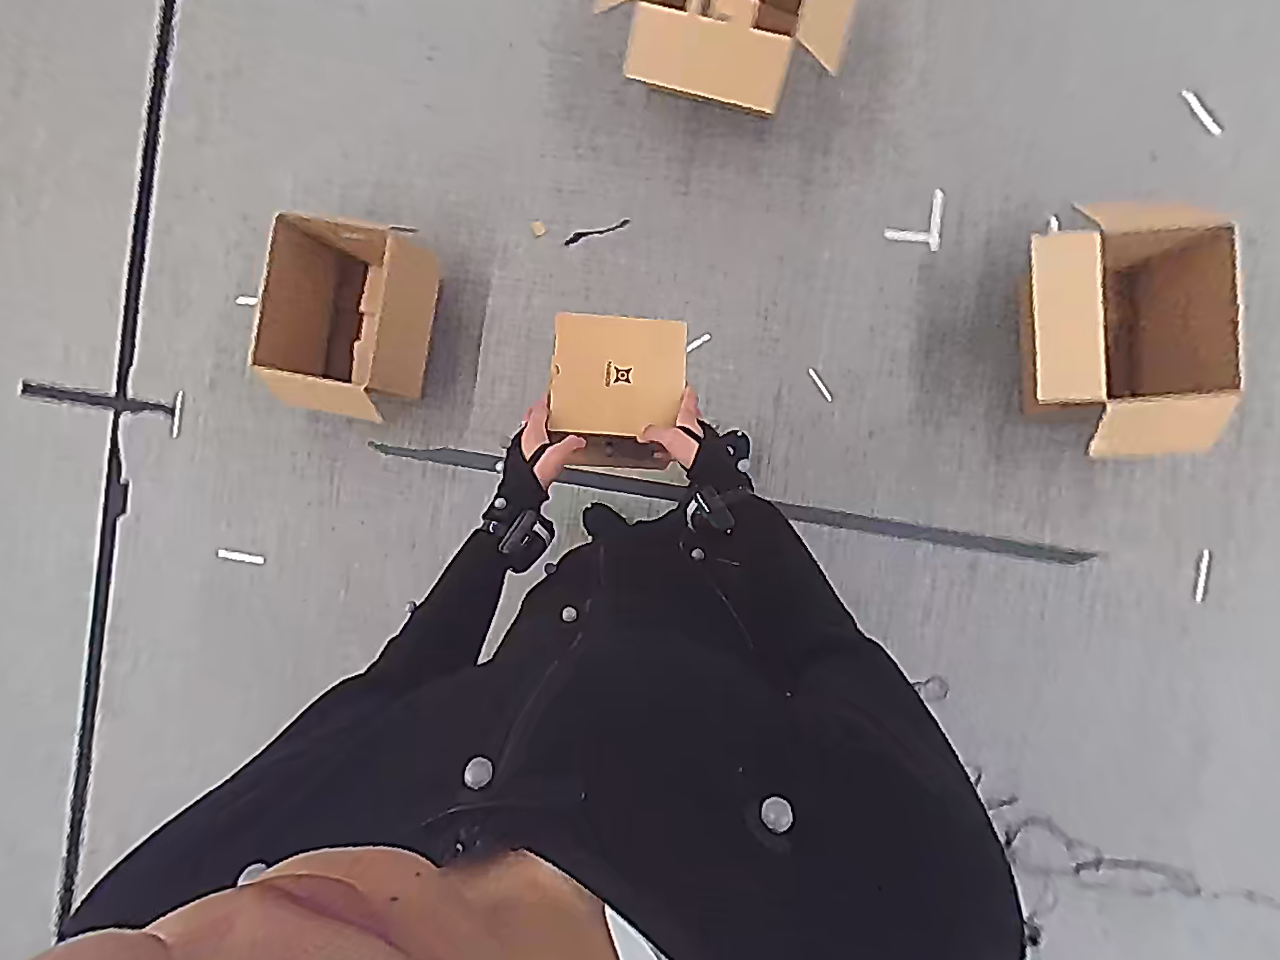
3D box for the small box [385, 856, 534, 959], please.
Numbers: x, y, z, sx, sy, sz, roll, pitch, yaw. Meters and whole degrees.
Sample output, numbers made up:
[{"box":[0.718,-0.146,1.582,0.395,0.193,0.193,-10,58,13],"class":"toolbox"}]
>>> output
[{"box":[-0.281,0.733,0.845,0.179,0.176,0.168,9,92,2],"class":"small box"}]
